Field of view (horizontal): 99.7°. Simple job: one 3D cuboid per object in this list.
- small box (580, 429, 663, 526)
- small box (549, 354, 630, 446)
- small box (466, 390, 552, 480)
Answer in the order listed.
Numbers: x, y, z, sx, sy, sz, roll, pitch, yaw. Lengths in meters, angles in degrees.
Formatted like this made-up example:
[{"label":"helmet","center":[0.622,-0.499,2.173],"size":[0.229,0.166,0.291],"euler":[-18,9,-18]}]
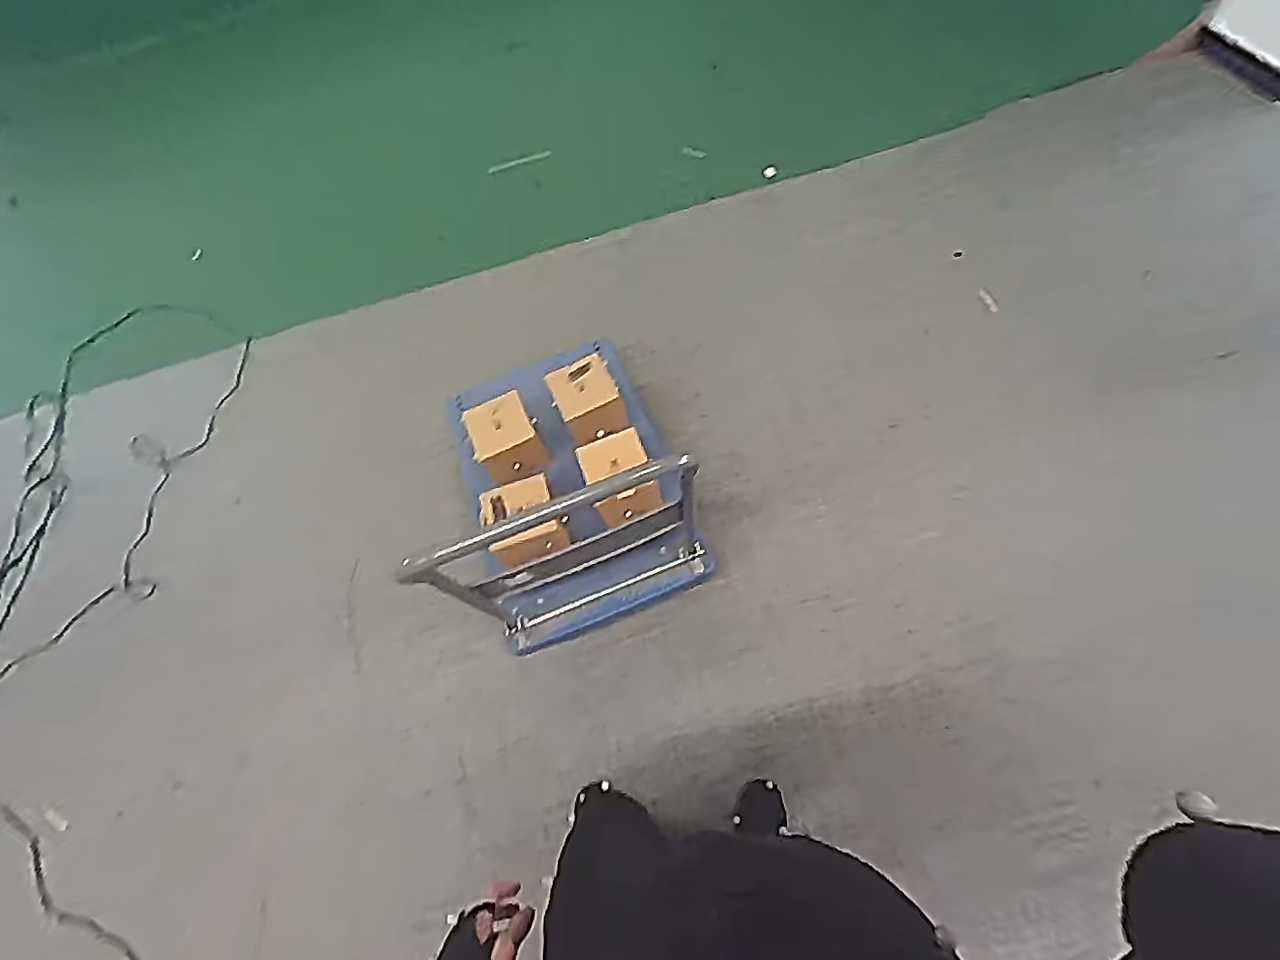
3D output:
[{"label":"small box","center":[-0.047,-0.002,1.448],"size":[0.168,0.176,0.179],"euler":[-21,64,-2]},{"label":"small box","center":[-0.142,-0.226,1.568],"size":[0.168,0.176,0.179],"euler":[-25,65,-3]},{"label":"small box","center":[-0.369,-0.118,1.550],"size":[0.168,0.176,0.179],"euler":[-24,63,-5]}]
